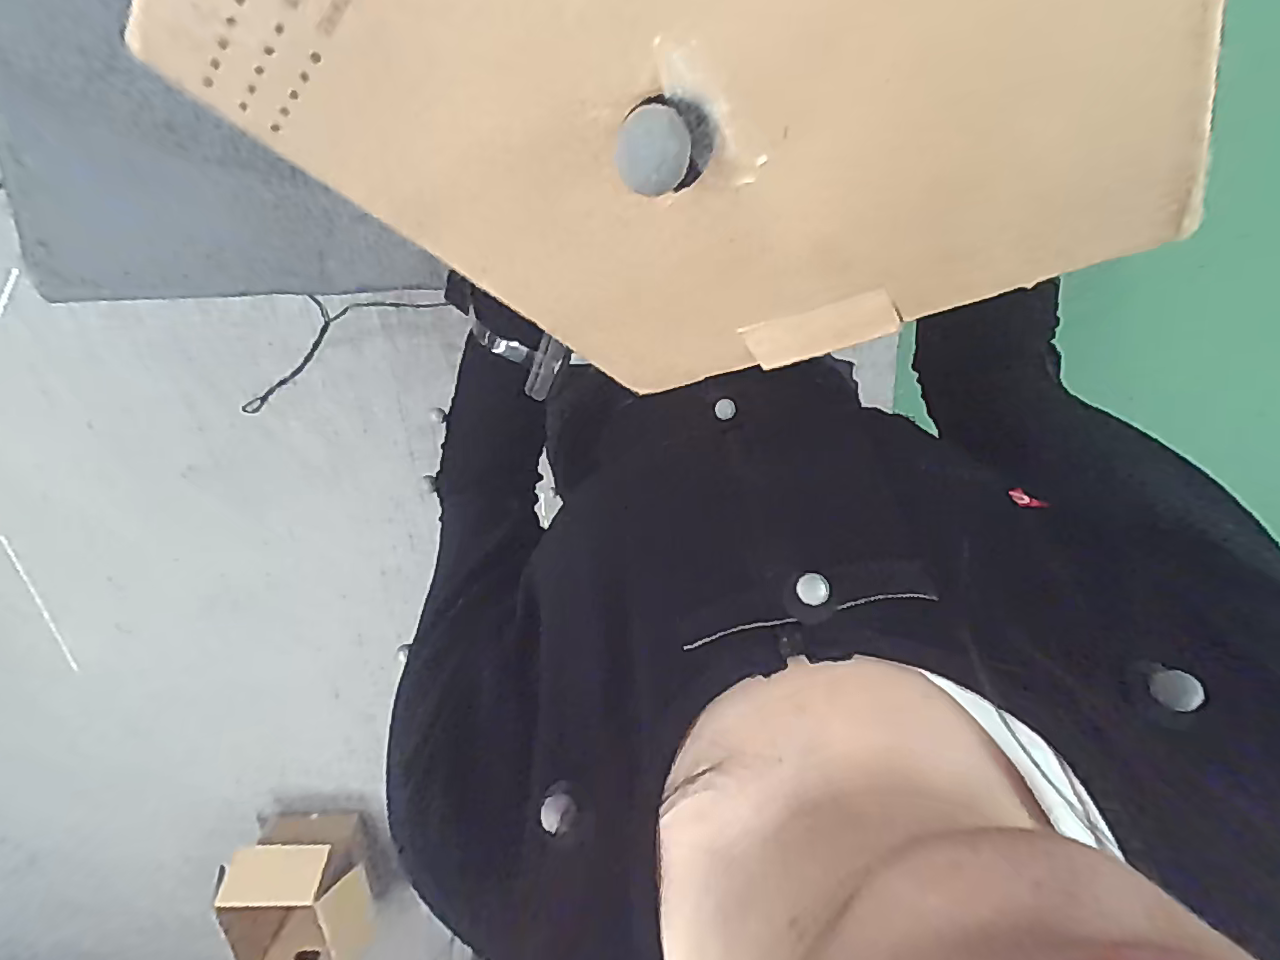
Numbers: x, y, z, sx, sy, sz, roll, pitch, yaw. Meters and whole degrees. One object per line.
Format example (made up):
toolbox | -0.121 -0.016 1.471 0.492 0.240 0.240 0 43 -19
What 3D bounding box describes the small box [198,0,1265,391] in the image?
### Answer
small box | 0.025 -0.154 0.142 0.168 0.179 0.176 -9 153 40
